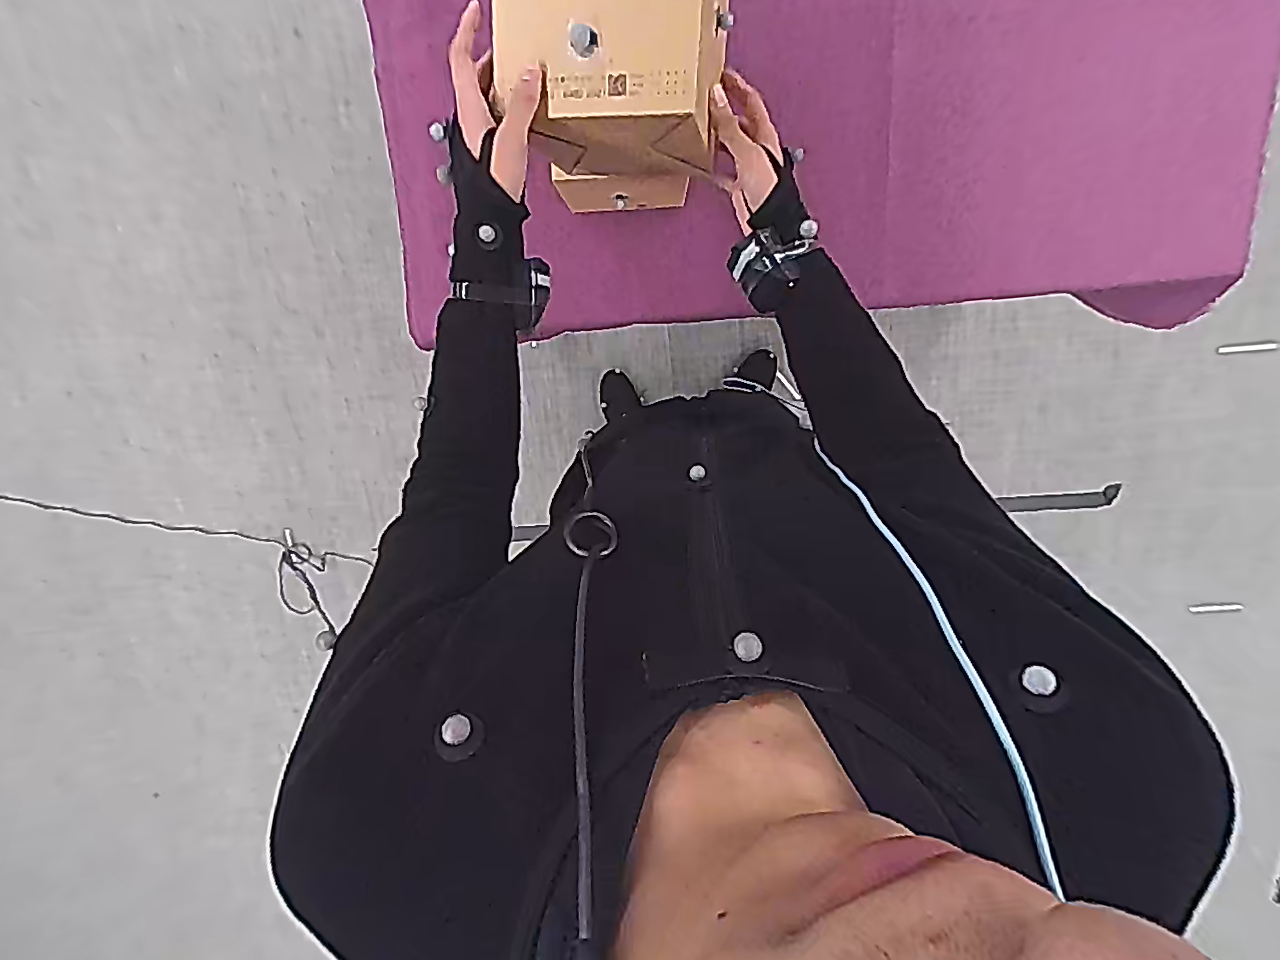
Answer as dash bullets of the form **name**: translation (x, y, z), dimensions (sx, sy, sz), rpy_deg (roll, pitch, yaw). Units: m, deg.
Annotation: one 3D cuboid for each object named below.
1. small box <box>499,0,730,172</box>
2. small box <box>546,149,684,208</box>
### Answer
- **small box**: translation (-0.017, -0.383, 0.476), dimensions (0.168, 0.179, 0.176), rpy_deg (6, 108, 12)
- **small box**: translation (-0.028, -0.460, 0.695), dimensions (0.168, 0.176, 0.179), rpy_deg (-2, 104, 1)
